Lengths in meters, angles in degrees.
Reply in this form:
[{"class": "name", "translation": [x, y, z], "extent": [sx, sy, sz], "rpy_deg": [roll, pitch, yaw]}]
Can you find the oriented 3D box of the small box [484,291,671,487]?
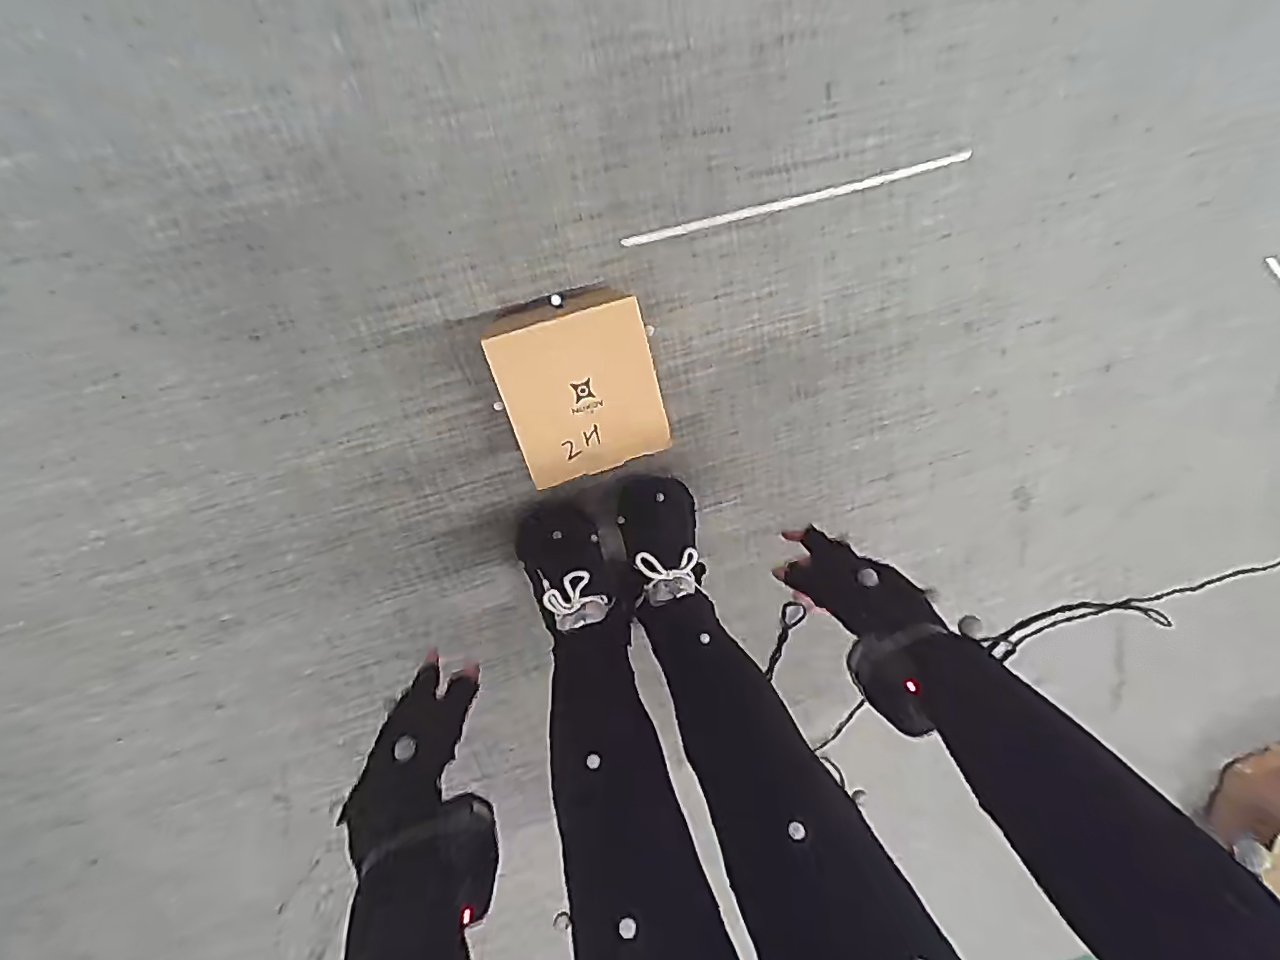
[{"class": "small box", "translation": [-0.077, -0.119, 0.647], "extent": [0.168, 0.176, 0.179], "rpy_deg": [-18, 115, -5]}]
